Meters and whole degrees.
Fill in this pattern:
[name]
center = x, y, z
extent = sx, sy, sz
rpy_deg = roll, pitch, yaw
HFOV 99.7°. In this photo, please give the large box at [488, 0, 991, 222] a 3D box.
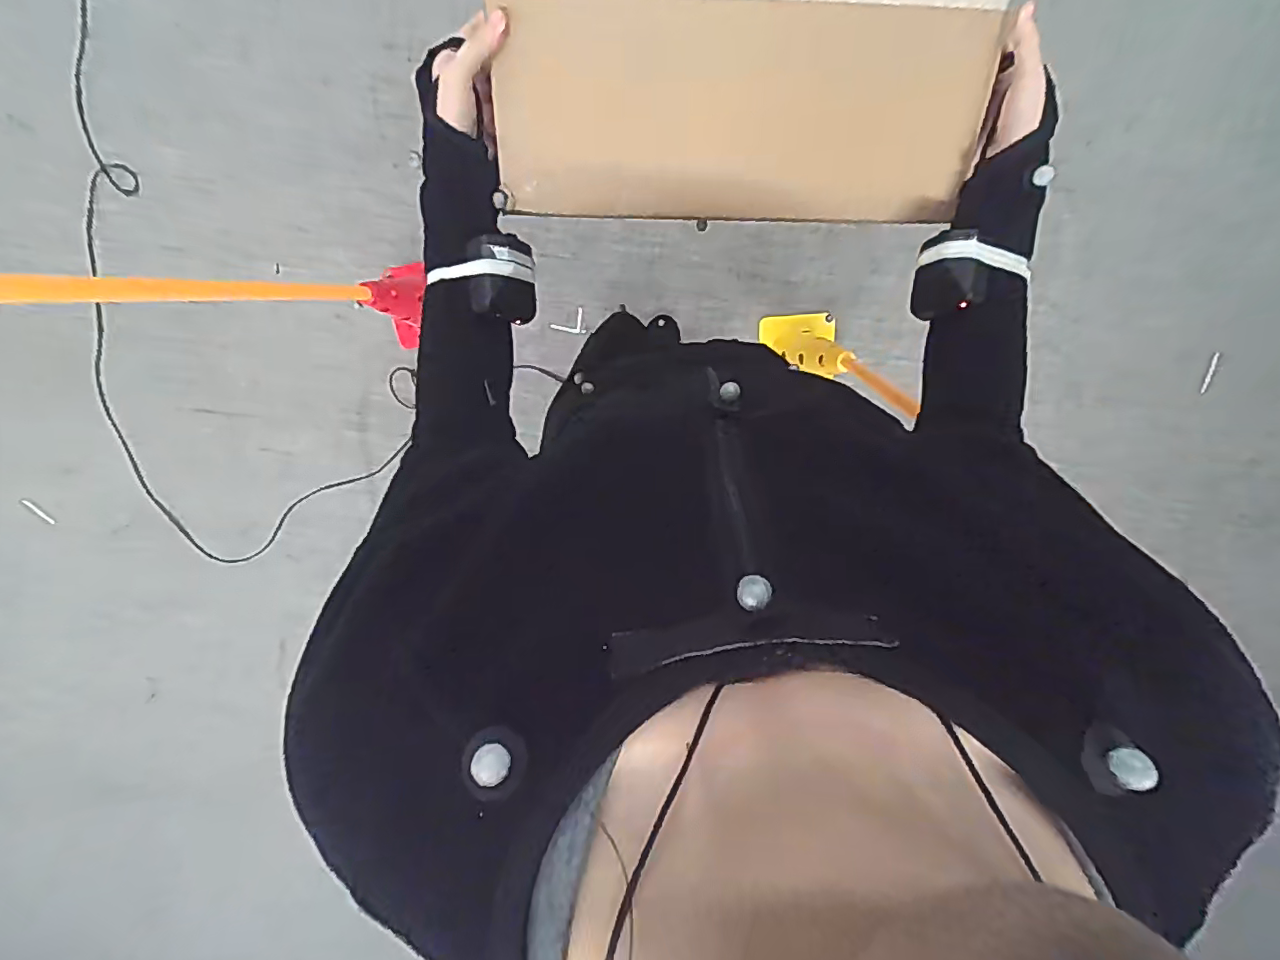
[large box]
center = 0.075, -0.442, 0.551
extent = 0.408, 0.320, 0.320
rpy_deg = -1, 116, -3
